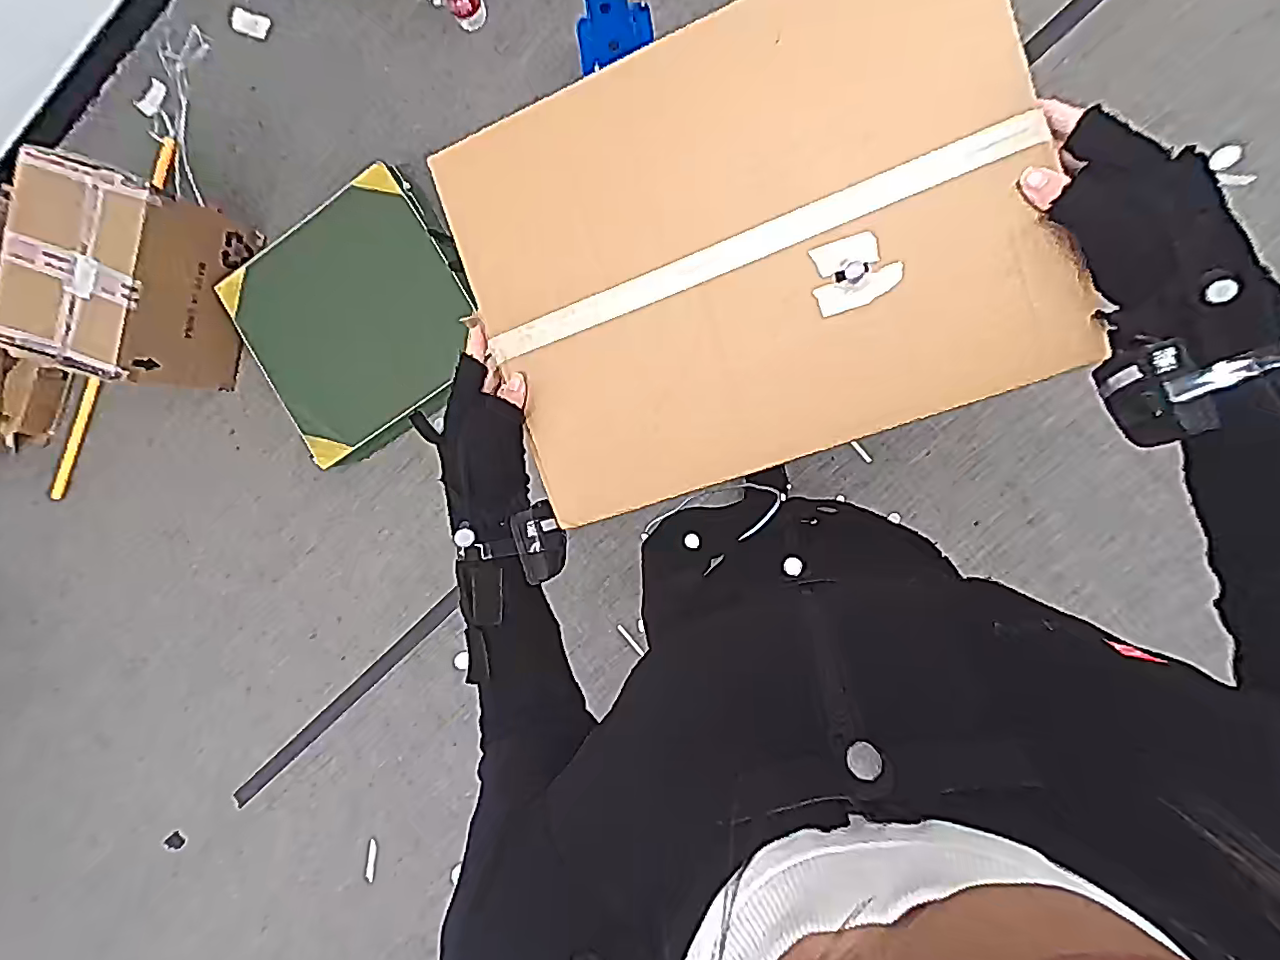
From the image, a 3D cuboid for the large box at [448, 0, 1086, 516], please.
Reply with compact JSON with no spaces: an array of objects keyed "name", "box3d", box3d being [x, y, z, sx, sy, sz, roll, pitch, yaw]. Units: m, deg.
[{"name":"large box","box3d":[0.100,-0.192,0.548,0.408,0.320,0.320,-19,95,11]}]
